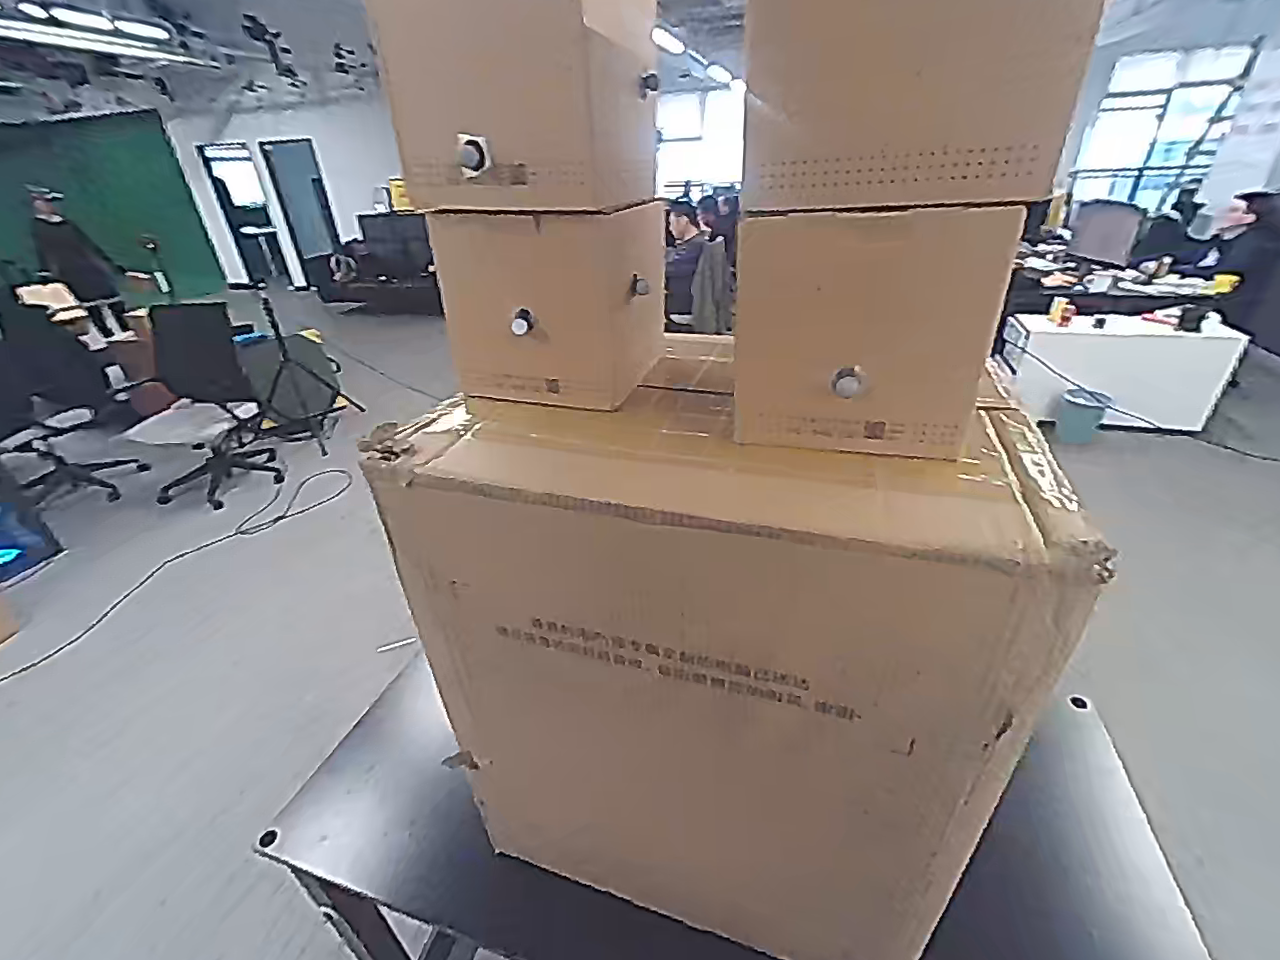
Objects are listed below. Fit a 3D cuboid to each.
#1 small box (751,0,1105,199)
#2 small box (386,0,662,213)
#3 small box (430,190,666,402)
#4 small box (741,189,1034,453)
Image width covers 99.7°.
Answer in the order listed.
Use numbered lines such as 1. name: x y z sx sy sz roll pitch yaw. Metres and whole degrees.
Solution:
1. small box: 0.170 -0.277 0.346 0.179 0.176 0.168 7 32 17
2. small box: -0.082 -0.322 0.447 0.168 0.176 0.179 7 32 15
3. small box: -0.072 -0.188 0.540 0.168 0.176 0.179 8 32 15
4. small box: 0.176 -0.138 0.435 0.168 0.176 0.179 6 32 18
